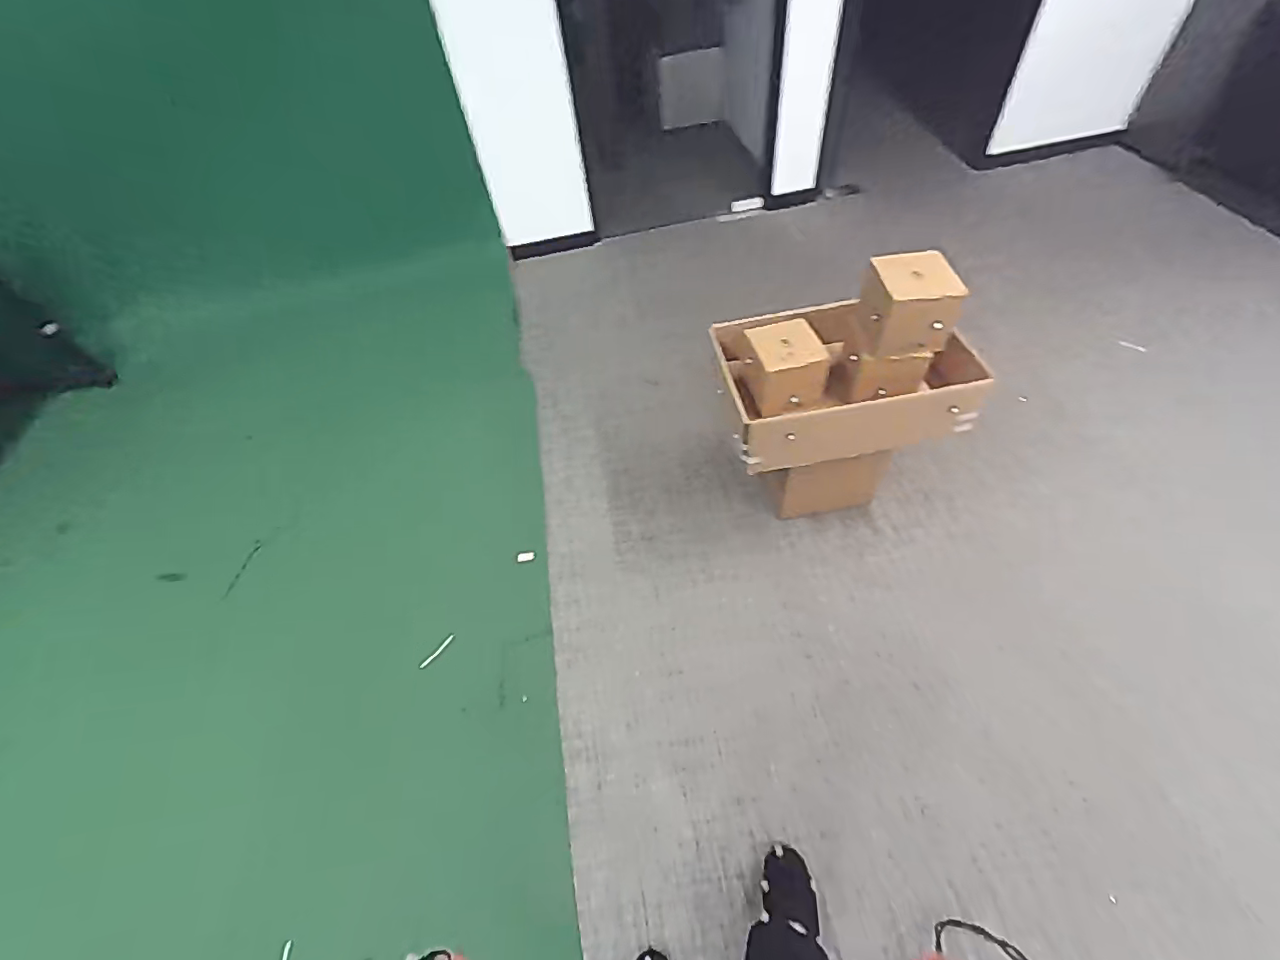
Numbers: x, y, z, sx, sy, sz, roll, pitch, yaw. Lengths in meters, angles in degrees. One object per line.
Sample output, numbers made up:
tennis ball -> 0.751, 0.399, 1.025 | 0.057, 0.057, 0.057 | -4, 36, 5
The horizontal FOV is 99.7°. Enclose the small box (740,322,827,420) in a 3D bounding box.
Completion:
small box -> 0.374, -0.289, 1.443 | 0.168, 0.176, 0.179 | -13, 53, -3

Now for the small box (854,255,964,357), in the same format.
small box -> 0.638, -0.412, 1.306 | 0.168, 0.176, 0.179 | -5, 52, 1
